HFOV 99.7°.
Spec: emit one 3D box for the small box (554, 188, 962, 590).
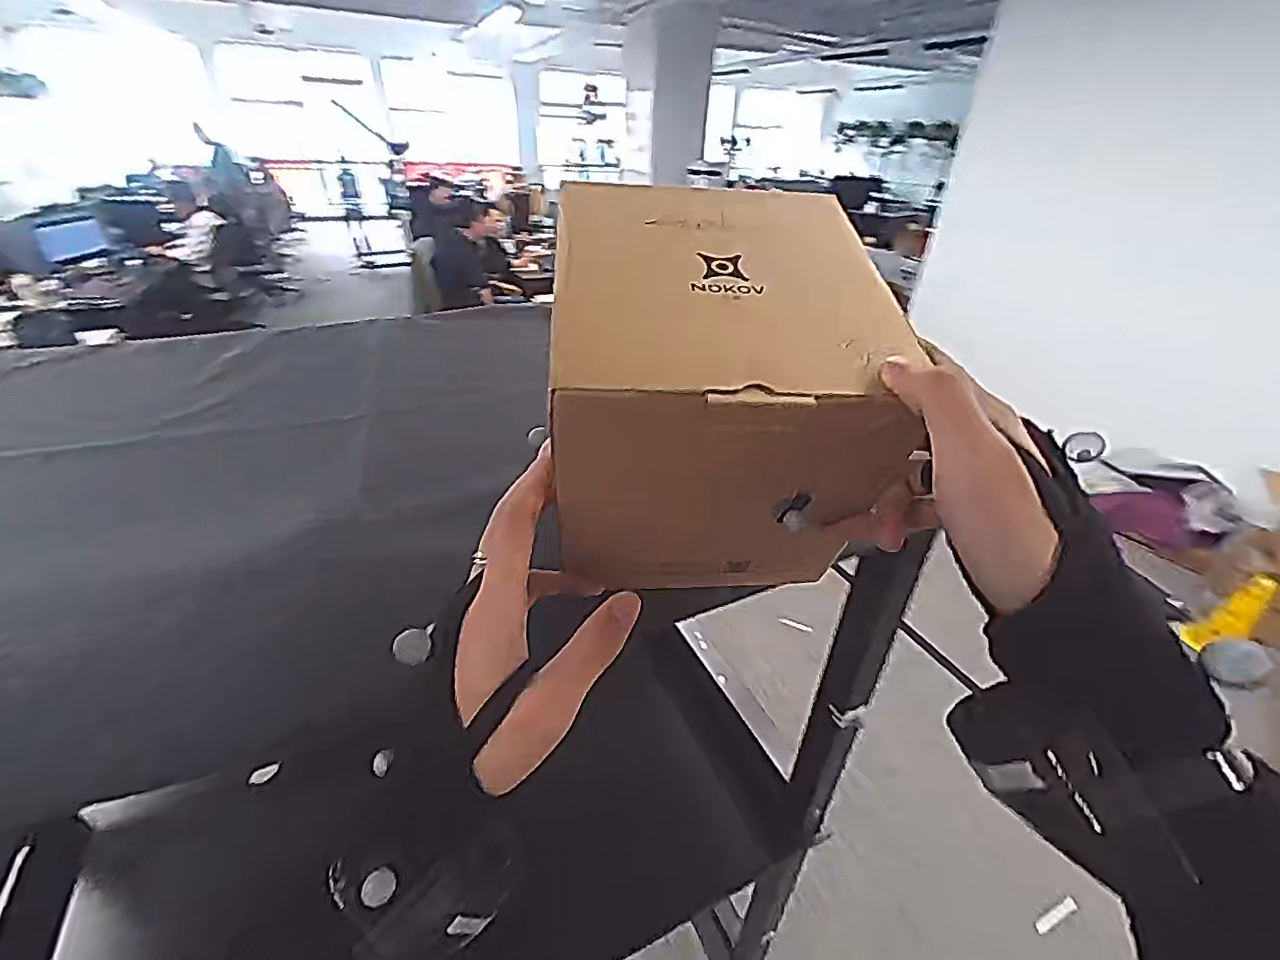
[{"bbox_3d":[0.038,-0.044,0.321,0.168,0.176,0.179,0,53,-6],"label":"small box"}]
